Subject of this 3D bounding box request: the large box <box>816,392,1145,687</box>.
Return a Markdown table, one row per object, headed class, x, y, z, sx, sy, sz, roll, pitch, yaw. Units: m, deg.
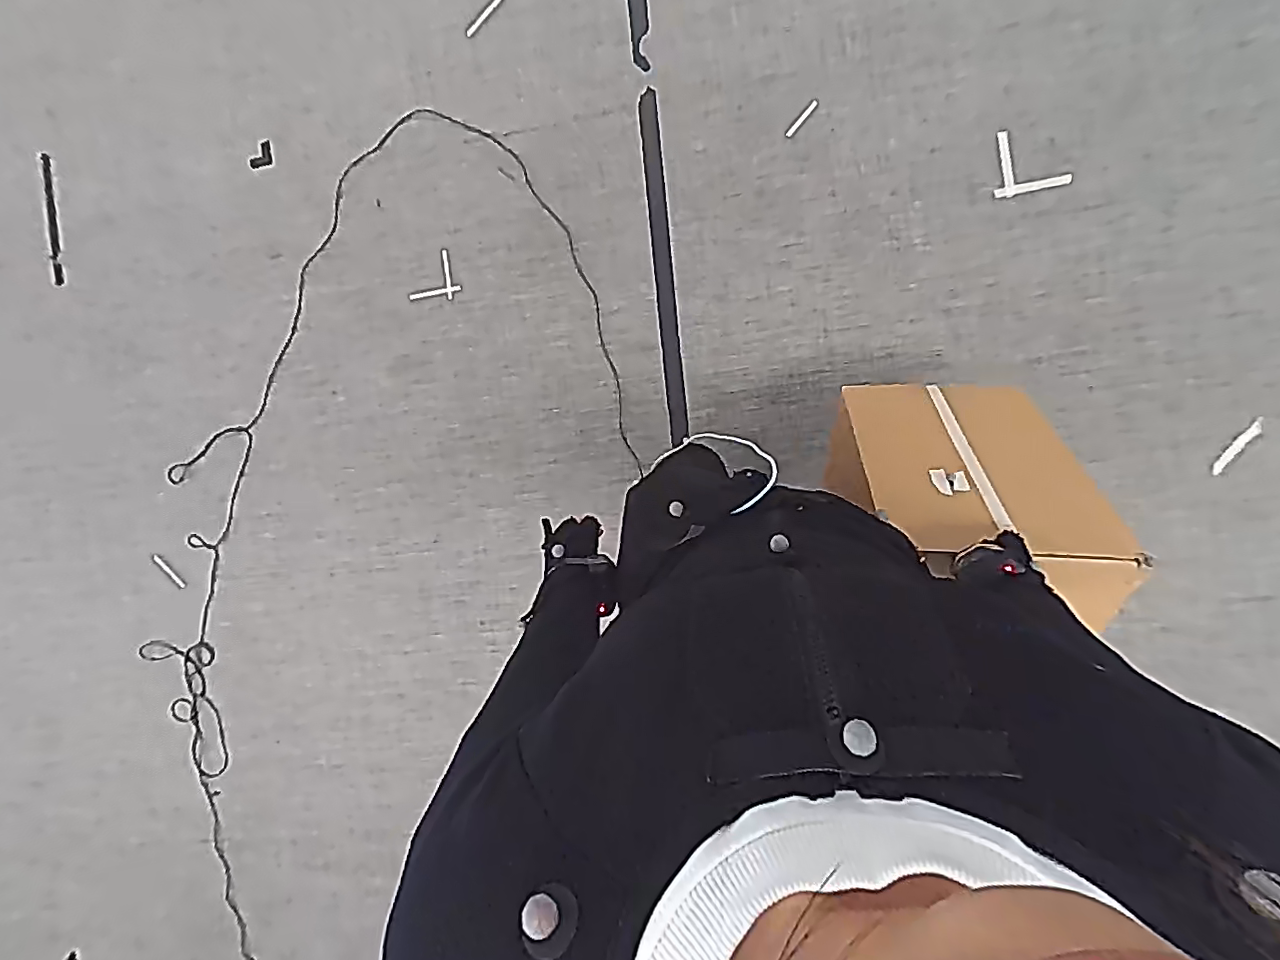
| class | x | y | z | sx | sy | sz | roll | pitch | yaw |
| --- | --- | --- | --- | --- | --- | --- | --- | --- | --- |
| large box | 0.507 | 0.087 | 0.933 | 0.320 | 0.408 | 0.320 | 1 | 132 | 8 |
